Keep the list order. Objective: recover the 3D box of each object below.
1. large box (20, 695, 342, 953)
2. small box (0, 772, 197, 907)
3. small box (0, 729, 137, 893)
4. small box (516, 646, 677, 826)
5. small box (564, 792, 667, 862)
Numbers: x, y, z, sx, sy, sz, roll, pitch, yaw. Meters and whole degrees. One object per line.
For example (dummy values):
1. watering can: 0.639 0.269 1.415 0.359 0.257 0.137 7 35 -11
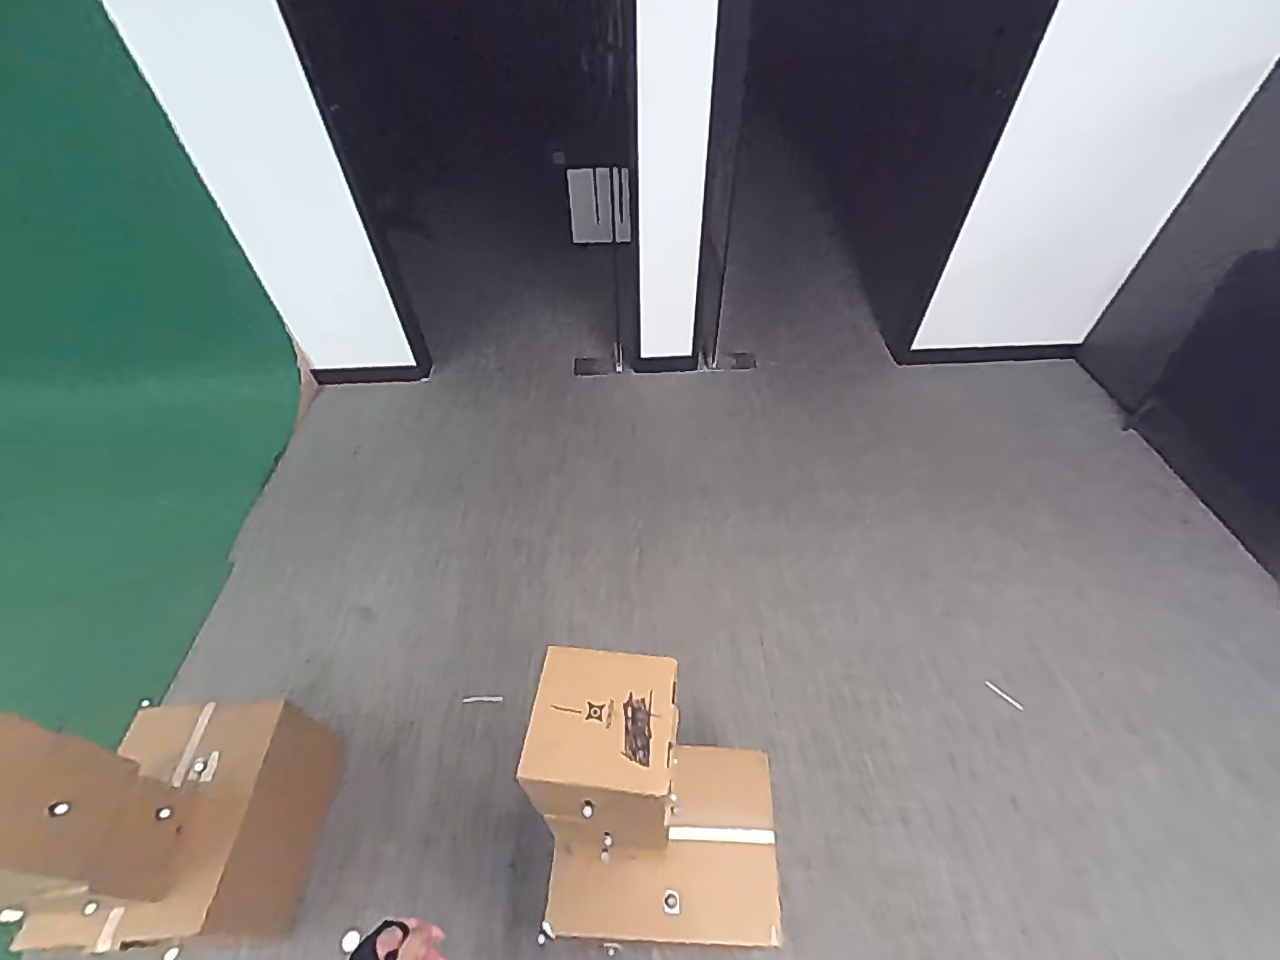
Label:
1. large box: -0.909 0.728 1.156 0.320 0.320 0.408 -3 47 -2
2. small box: -0.924 0.617 0.928 0.179 0.176 0.168 -4 47 -2
3. small box: -0.925 0.502 0.812 0.168 0.176 0.179 -6 47 -6
4. small box: -0.046 0.346 0.725 0.179 0.176 0.168 4 47 6
5. small box: -0.035 0.566 0.969 0.168 0.176 0.179 3 46 2
